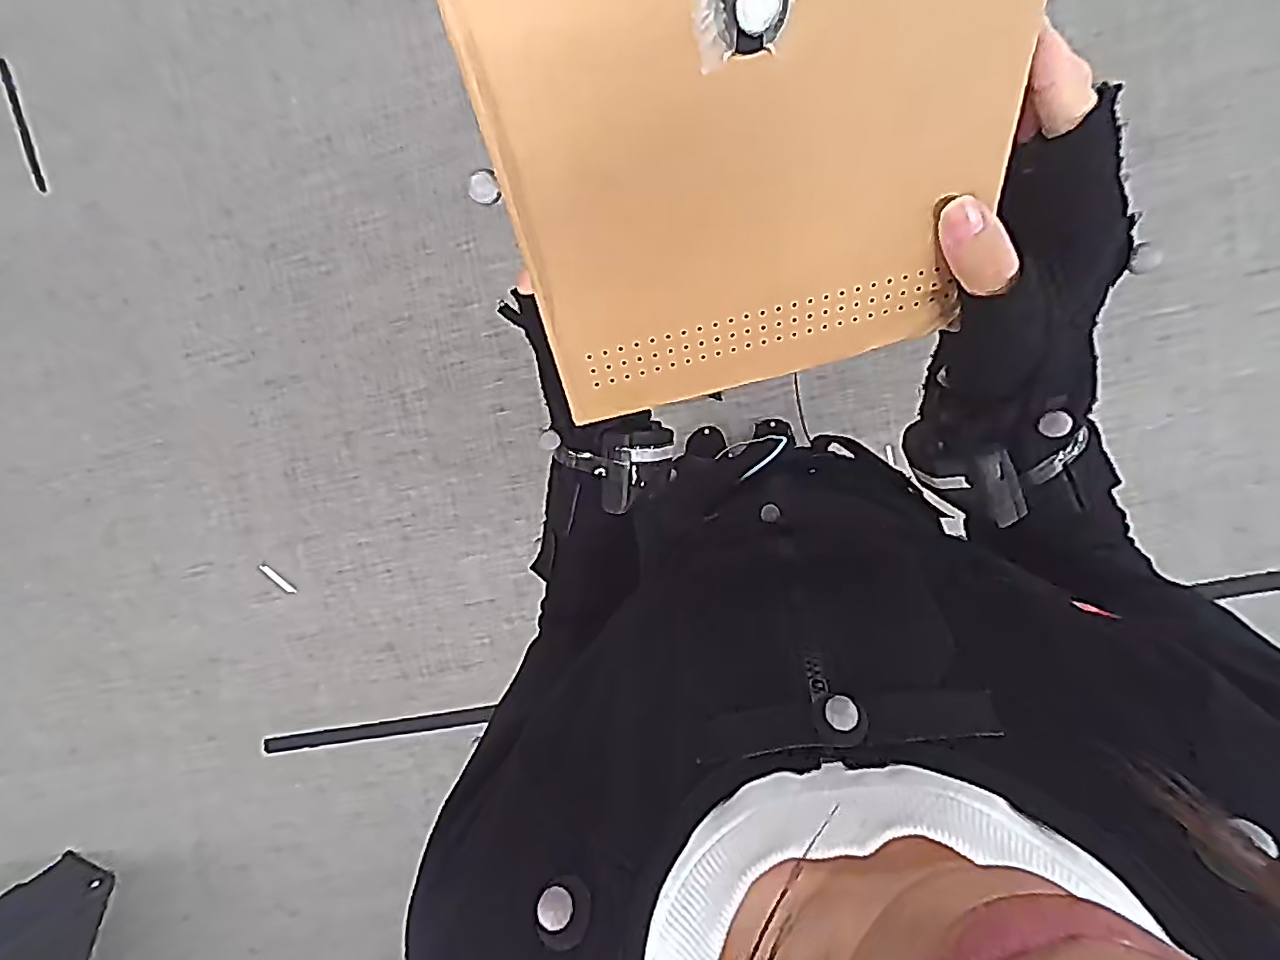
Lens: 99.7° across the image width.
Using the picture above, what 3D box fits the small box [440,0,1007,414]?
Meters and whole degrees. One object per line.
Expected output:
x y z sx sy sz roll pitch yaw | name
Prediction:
0.032 -0.150 0.244 0.179 0.168 0.176 -13 132 0 | small box
